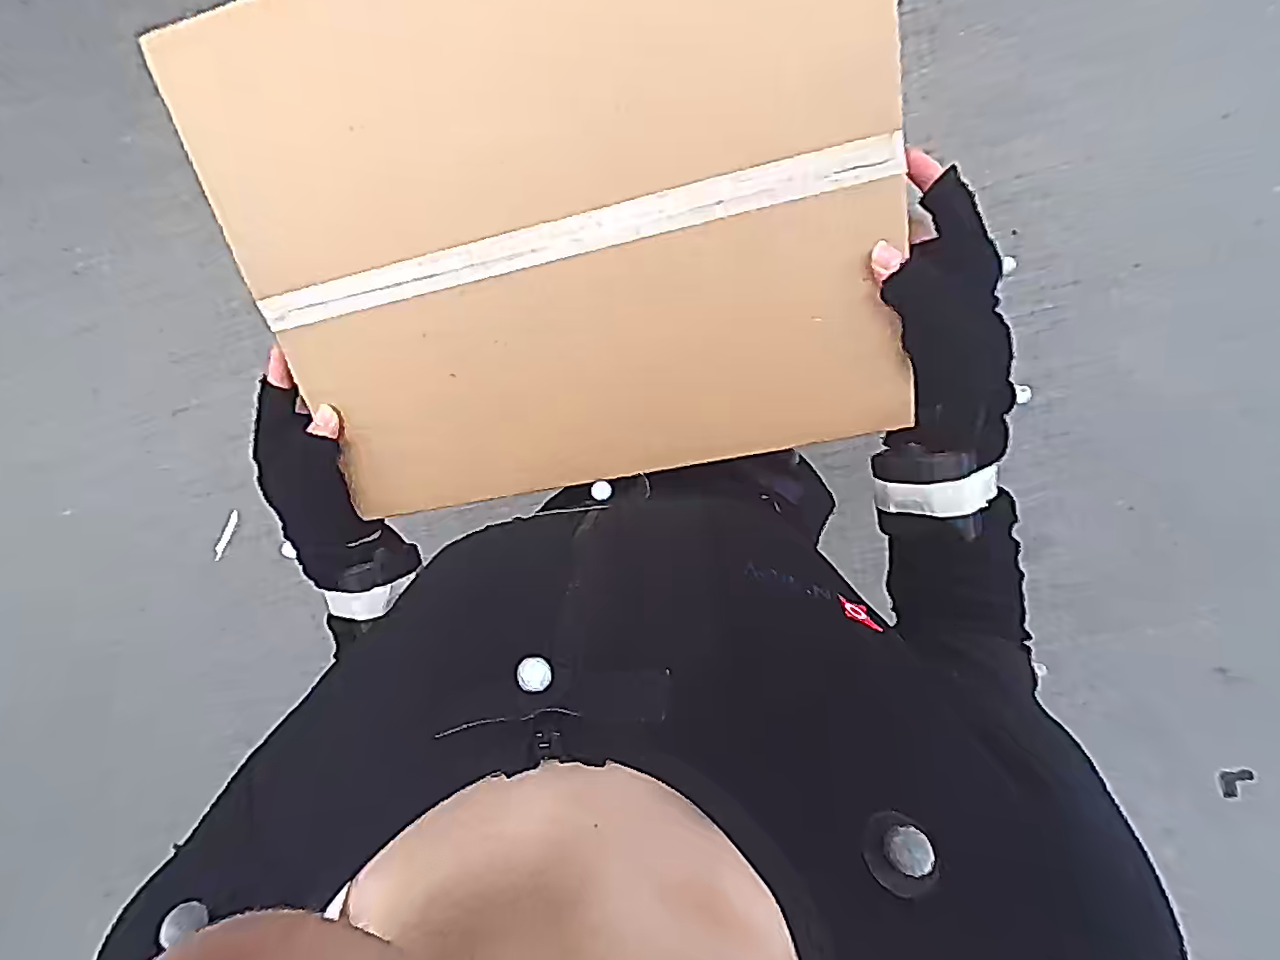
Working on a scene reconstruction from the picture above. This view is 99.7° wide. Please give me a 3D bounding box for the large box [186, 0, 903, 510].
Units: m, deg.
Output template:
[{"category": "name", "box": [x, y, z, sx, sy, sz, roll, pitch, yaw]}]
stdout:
[{"category": "large box", "box": [-0.037, -0.203, 0.477, 0.408, 0.320, 0.320, -10, 112, 10]}]
